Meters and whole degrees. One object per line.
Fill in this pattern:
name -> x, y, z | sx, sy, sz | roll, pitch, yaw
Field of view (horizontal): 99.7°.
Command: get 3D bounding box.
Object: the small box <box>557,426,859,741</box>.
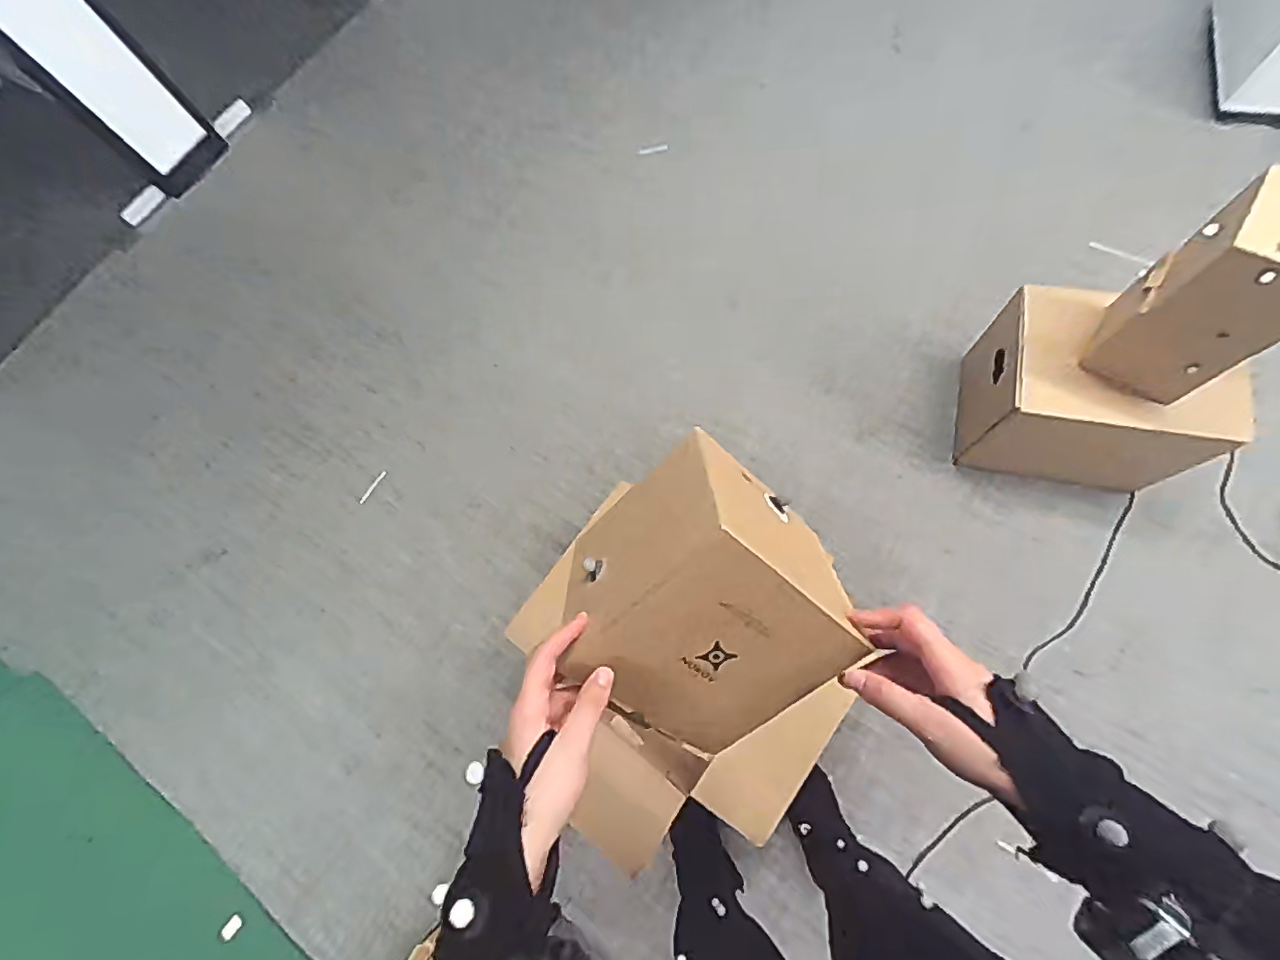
small box -> 0.051, 0.086, 0.483 | 0.168, 0.176, 0.179 | 38, 111, -20

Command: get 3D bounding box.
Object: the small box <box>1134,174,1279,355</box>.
small box -> 0.962, -0.339, 0.871 | 0.168, 0.176, 0.179 | 31, 76, 17
